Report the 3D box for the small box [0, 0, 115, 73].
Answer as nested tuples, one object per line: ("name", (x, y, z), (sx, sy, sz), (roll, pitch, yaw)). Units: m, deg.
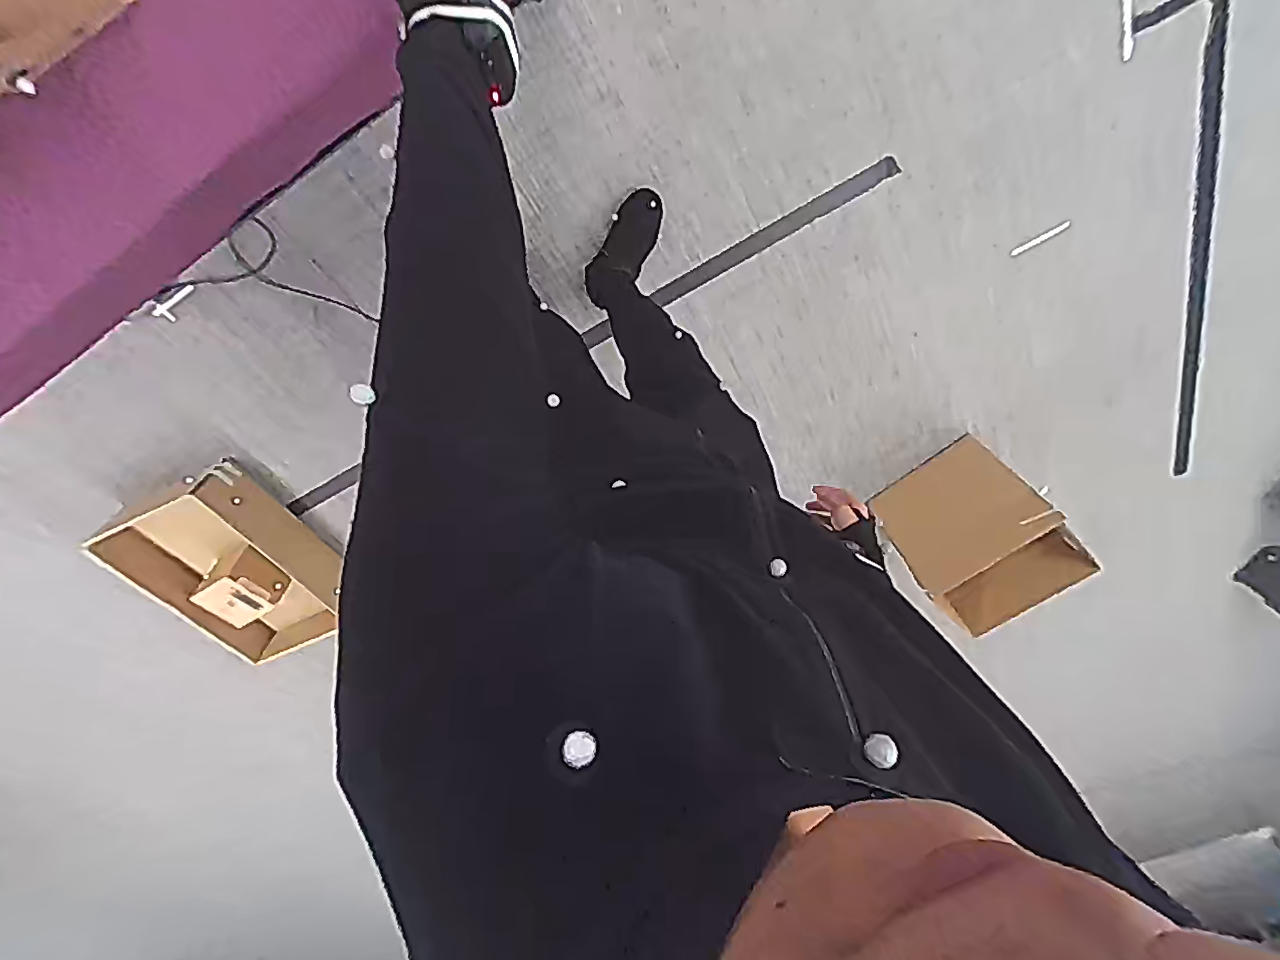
("small box", (-0.560, -0.429, 0.395), (0.168, 0.176, 0.179), (-25, 124, 10))
